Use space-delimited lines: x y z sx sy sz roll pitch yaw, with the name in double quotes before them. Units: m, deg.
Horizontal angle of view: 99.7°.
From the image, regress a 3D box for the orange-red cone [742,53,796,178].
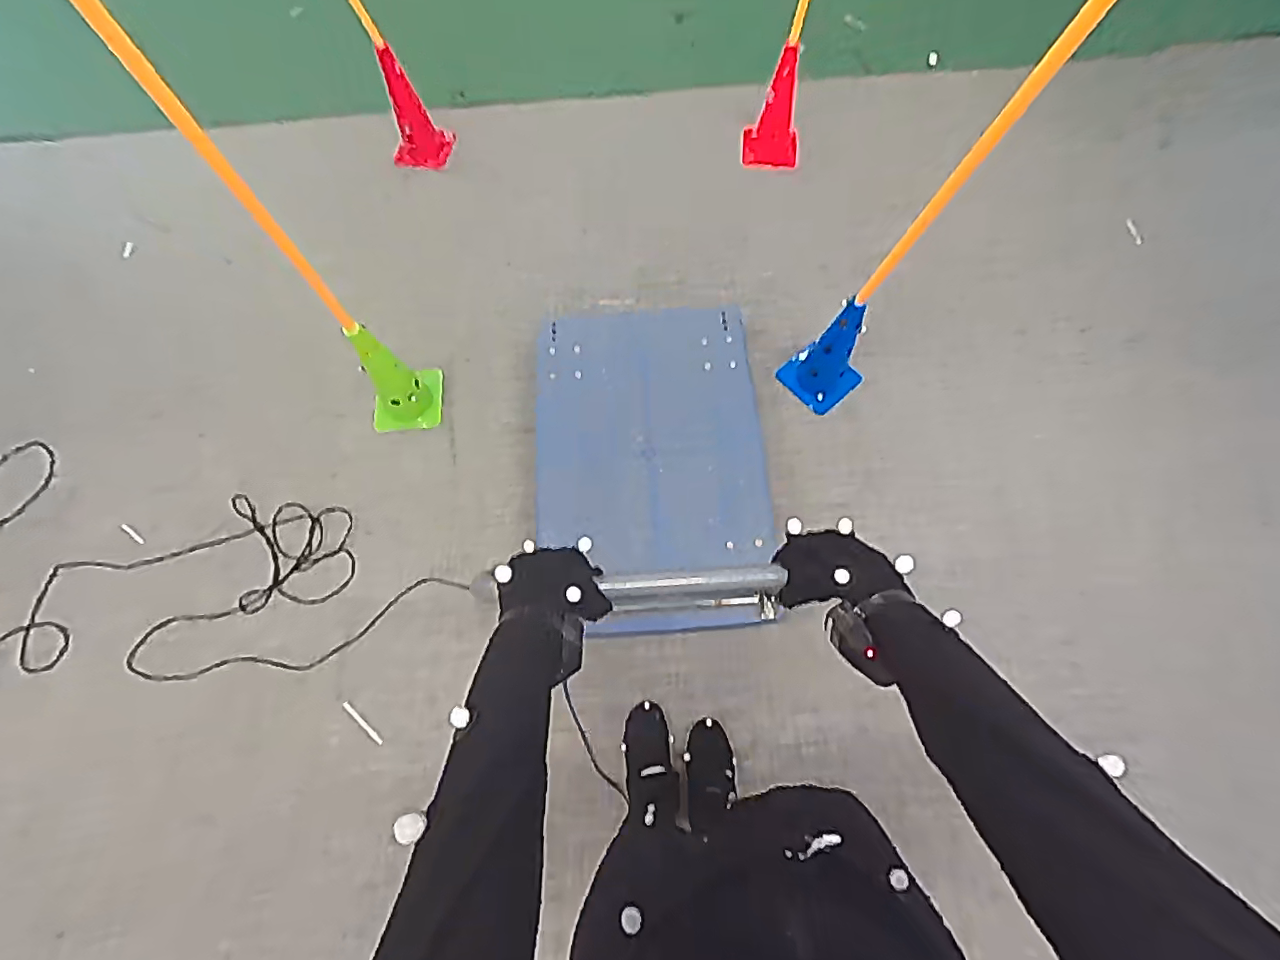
"orange-red cone" 0.476 -1.263 1.861 0.198 0.360 0.199 6 69 4
